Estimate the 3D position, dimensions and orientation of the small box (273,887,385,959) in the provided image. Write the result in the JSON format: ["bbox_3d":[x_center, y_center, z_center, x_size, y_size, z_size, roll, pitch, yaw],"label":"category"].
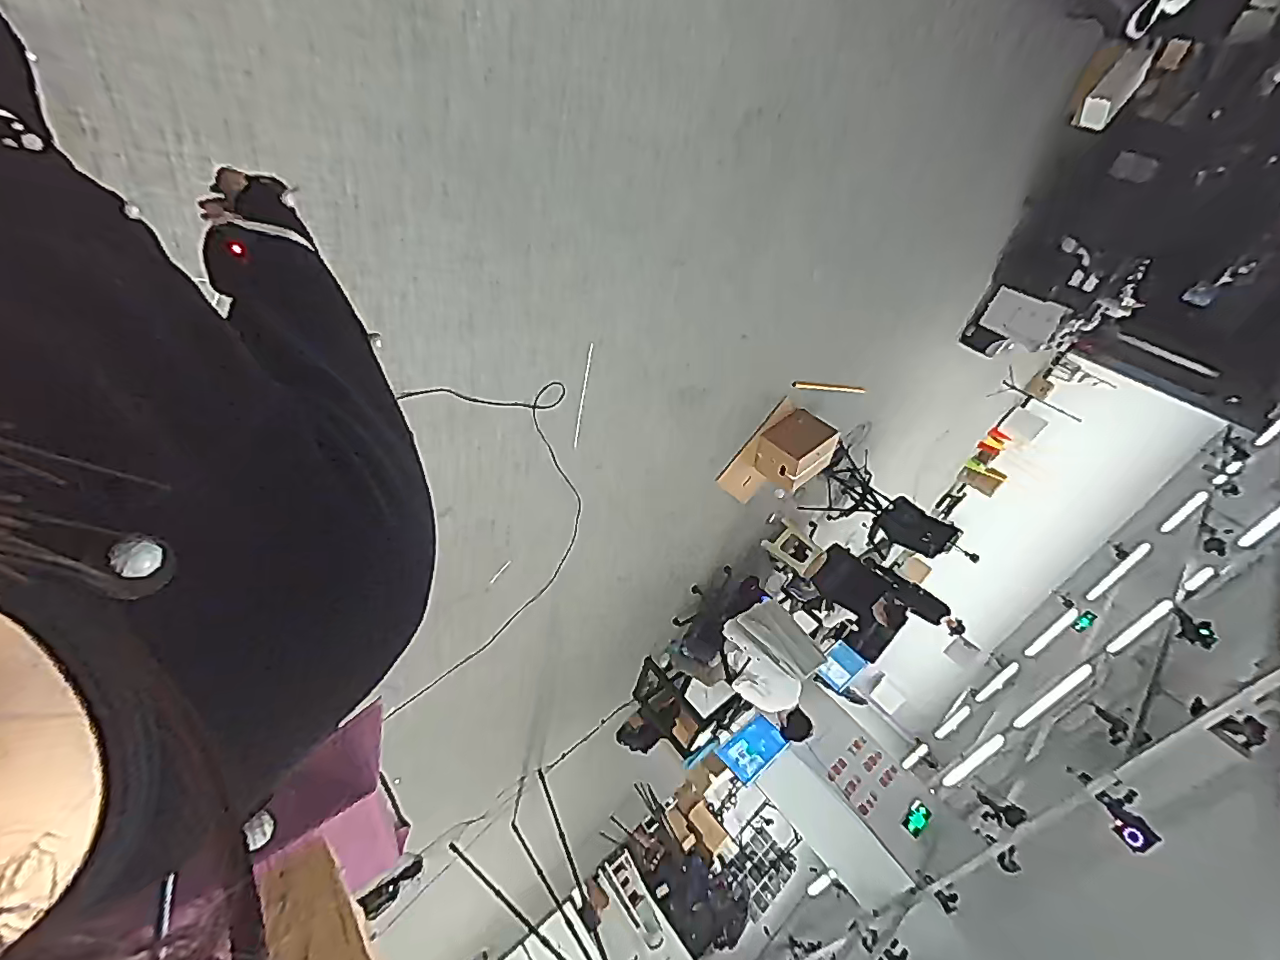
[{"bbox_3d":[-0.748,1.138,1.307,0.179,0.176,0.168,-24,142,-32],"label":"small box"}]

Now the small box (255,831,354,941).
[{"bbox_3d":[-0.855,1.044,1.386,0.168,0.176,0.179,-23,143,-34],"label":"small box"}]
